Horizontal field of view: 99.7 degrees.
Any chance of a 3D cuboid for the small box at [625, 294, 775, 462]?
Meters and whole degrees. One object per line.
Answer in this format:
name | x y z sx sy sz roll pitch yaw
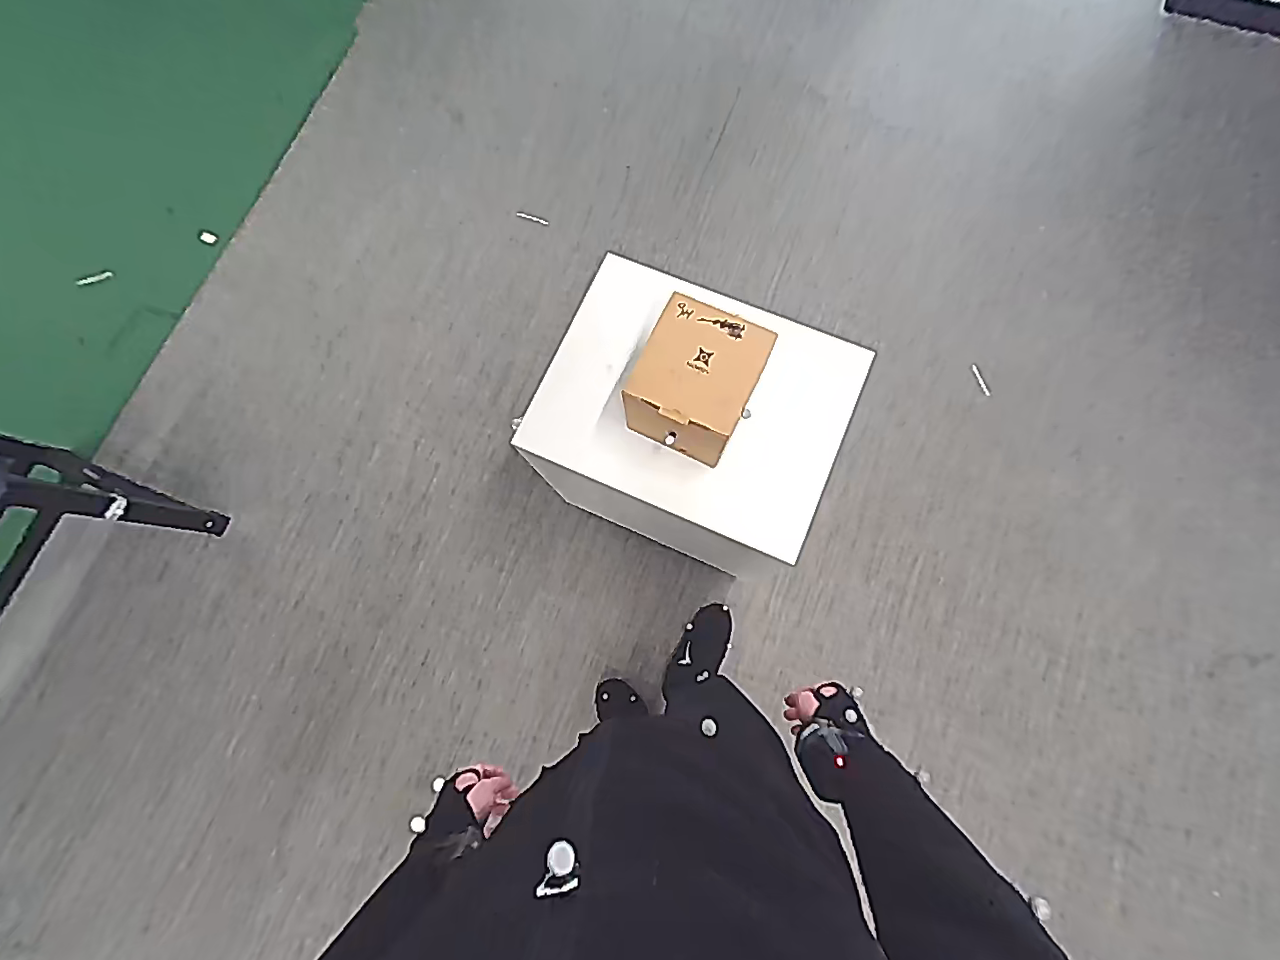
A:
small box | 0.091 -0.148 0.847 0.168 0.176 0.179 23 78 7
